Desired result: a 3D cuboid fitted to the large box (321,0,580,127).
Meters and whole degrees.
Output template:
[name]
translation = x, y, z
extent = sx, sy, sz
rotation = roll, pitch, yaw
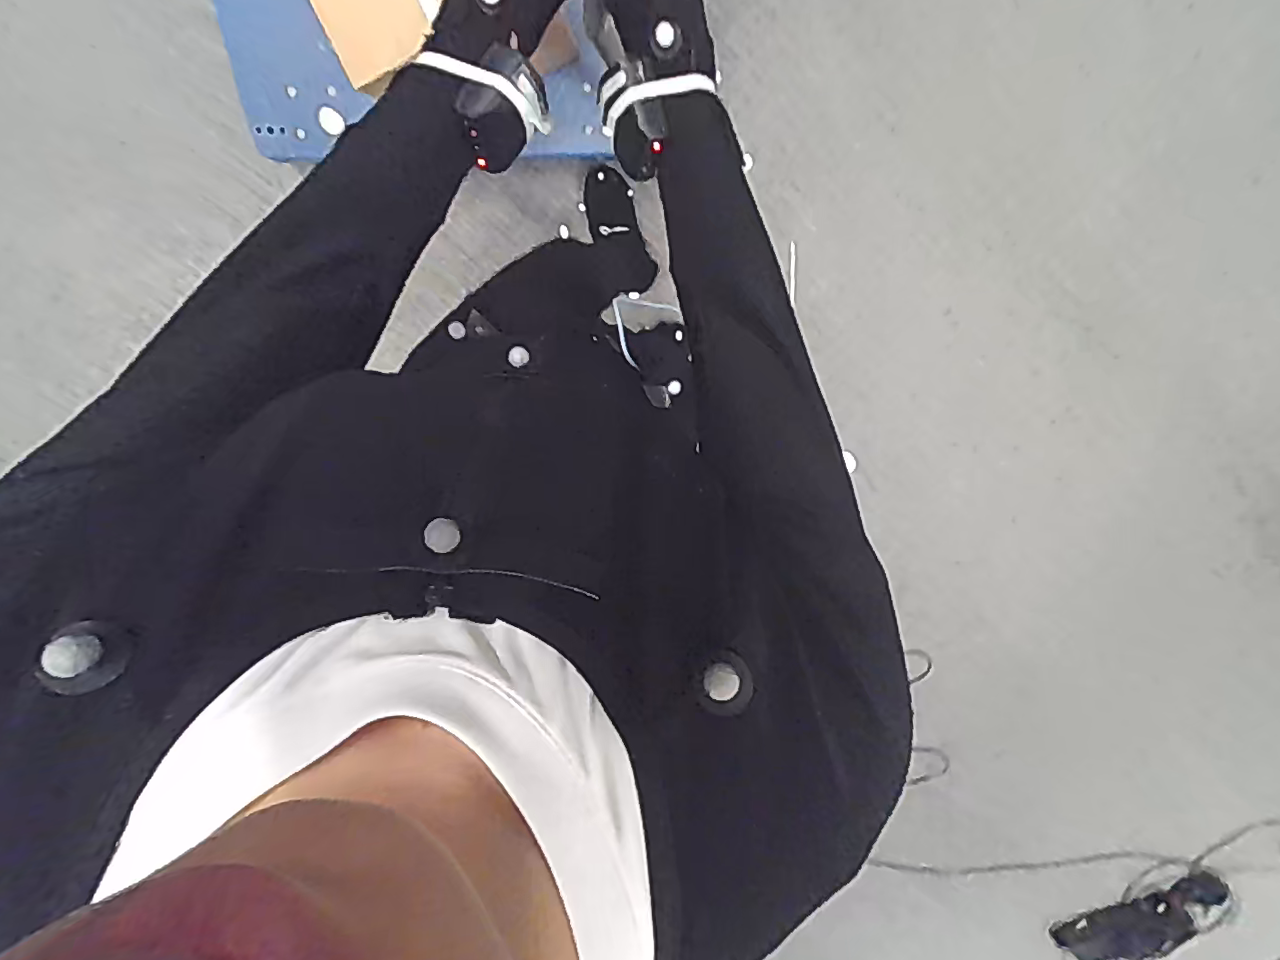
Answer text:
[large box]
translation = -0.330, -0.850, 0.833
extent = 0.320, 0.320, 0.408
rotation = -19, 112, 12
